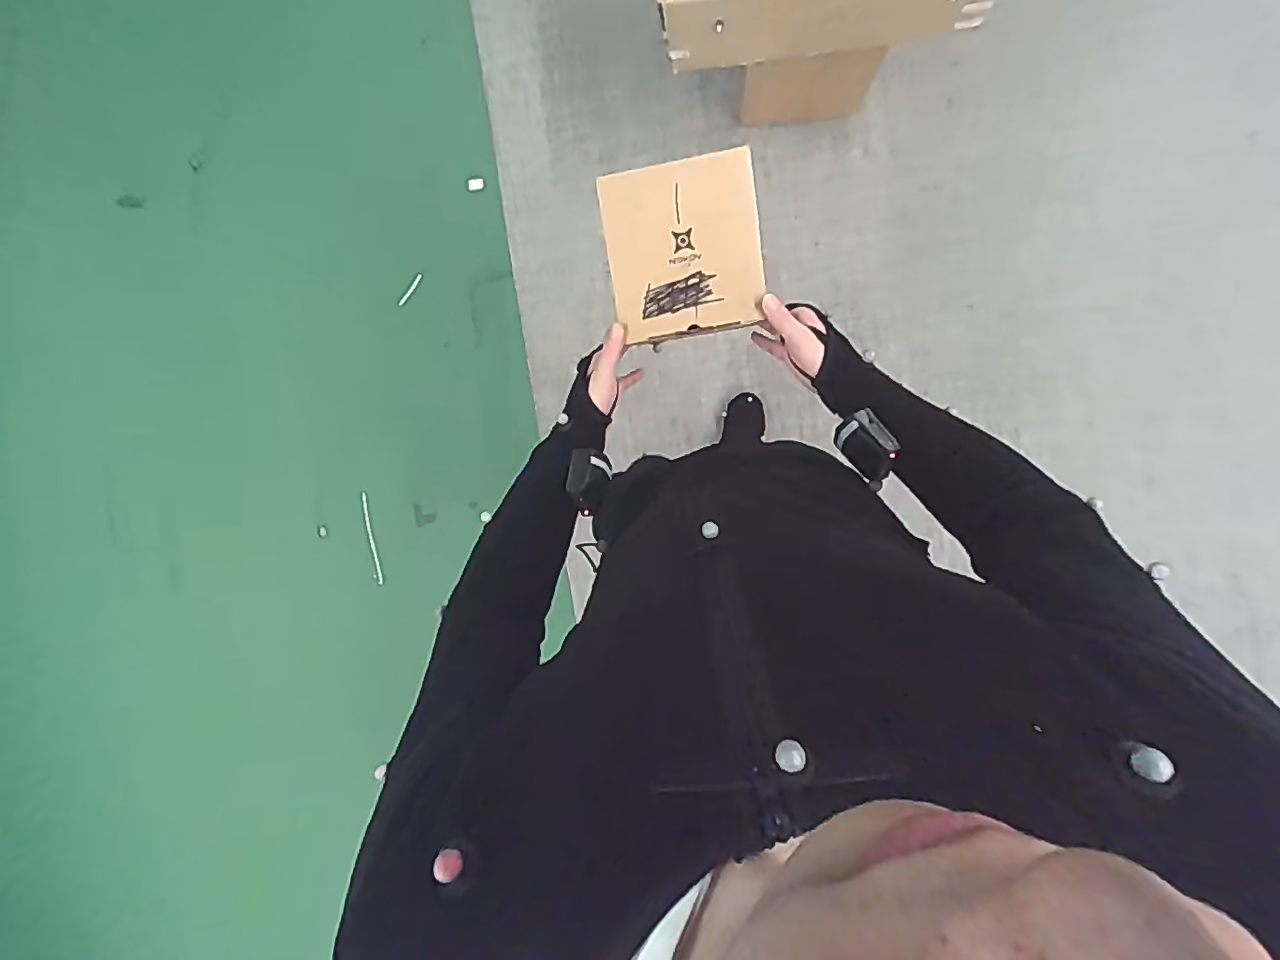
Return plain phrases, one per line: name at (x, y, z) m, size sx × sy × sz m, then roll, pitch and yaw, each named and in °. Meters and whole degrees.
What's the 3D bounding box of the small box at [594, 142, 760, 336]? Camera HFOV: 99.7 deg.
small box at (0.051, -0.277, 0.664) m, size 0.168 × 0.176 × 0.179 m, roll -7°, pitch 103°, yaw 8°
